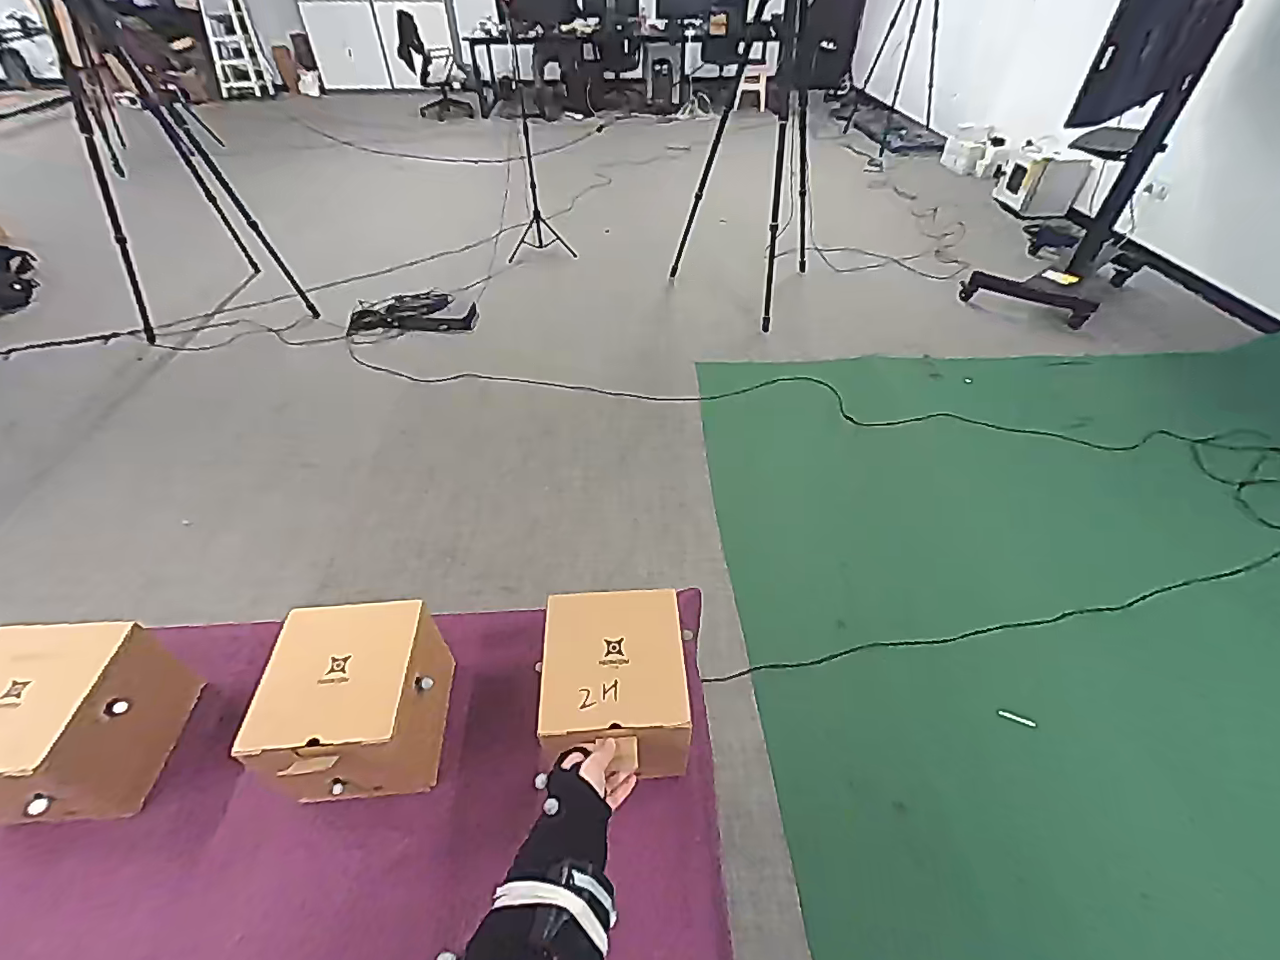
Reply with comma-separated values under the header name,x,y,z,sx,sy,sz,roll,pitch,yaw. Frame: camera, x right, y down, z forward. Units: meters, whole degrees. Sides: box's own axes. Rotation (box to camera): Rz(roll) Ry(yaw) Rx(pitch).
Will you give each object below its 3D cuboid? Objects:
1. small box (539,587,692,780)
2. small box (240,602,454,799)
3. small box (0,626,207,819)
name,x,y,z,sx,sy,sz,roll,pitch,yaw
small box,-0.028,0.259,0.690,0.168,0.176,0.179,-3,45,-1
small box,-0.346,0.278,0.684,0.168,0.176,0.179,-4,46,-3
small box,-0.694,0.302,0.666,0.168,0.176,0.179,-2,45,-2
